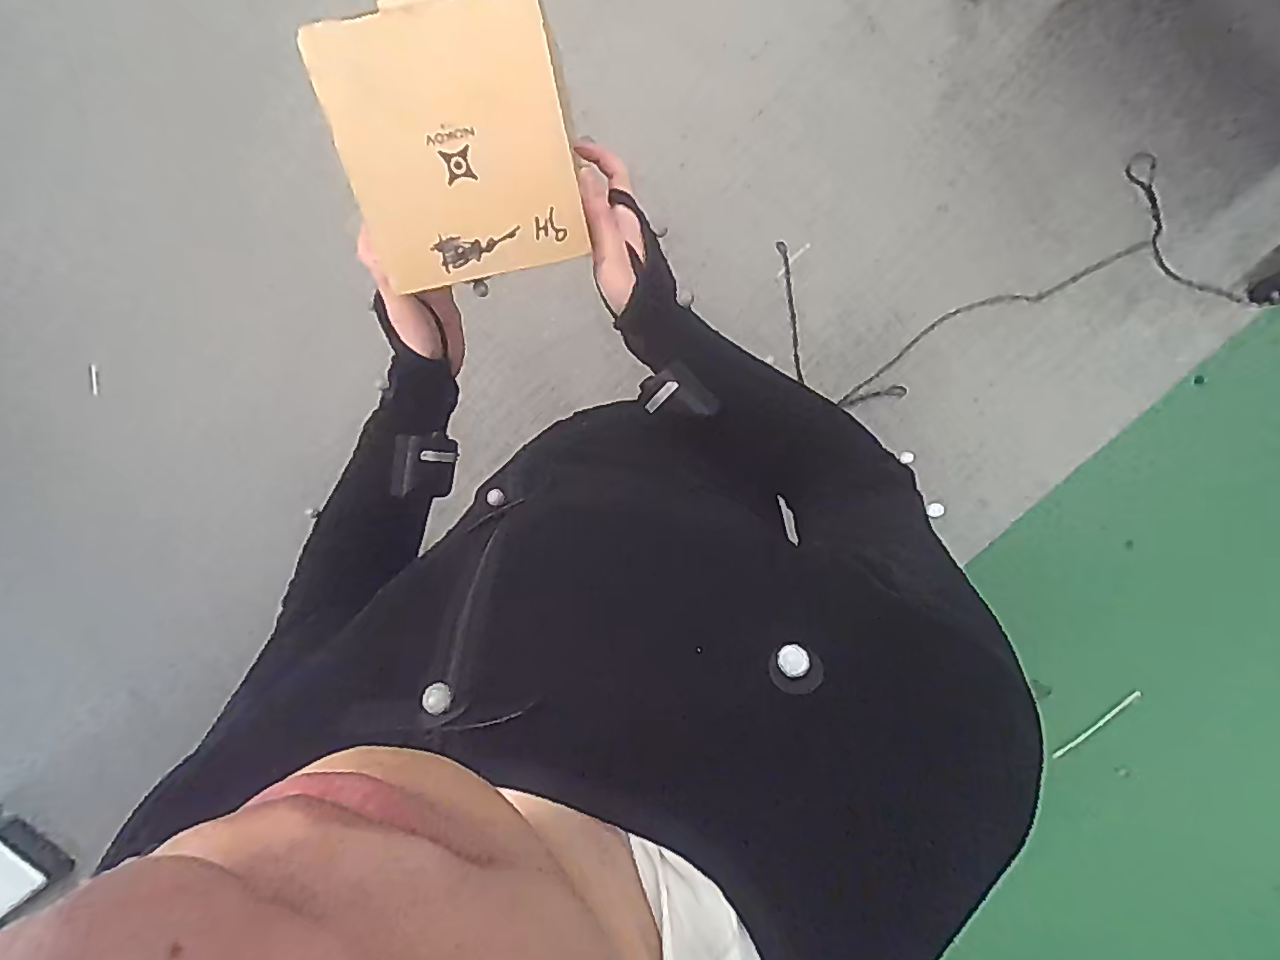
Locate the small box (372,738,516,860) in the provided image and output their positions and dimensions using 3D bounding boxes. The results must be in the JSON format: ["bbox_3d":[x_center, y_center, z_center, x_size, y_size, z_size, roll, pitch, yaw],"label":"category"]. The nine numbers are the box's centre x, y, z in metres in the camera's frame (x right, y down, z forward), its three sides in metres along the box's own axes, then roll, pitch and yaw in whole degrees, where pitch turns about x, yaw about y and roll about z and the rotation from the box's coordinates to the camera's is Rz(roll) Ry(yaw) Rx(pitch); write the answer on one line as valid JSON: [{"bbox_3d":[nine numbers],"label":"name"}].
[{"bbox_3d":[-0.377,0.662,1.075,0.179,0.176,0.168,-39,95,9],"label":"small box"}]

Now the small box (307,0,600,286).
[{"bbox_3d":[-0.133,-0.276,0.465,0.168,0.176,0.179,-10,115,4],"label":"small box"}]
